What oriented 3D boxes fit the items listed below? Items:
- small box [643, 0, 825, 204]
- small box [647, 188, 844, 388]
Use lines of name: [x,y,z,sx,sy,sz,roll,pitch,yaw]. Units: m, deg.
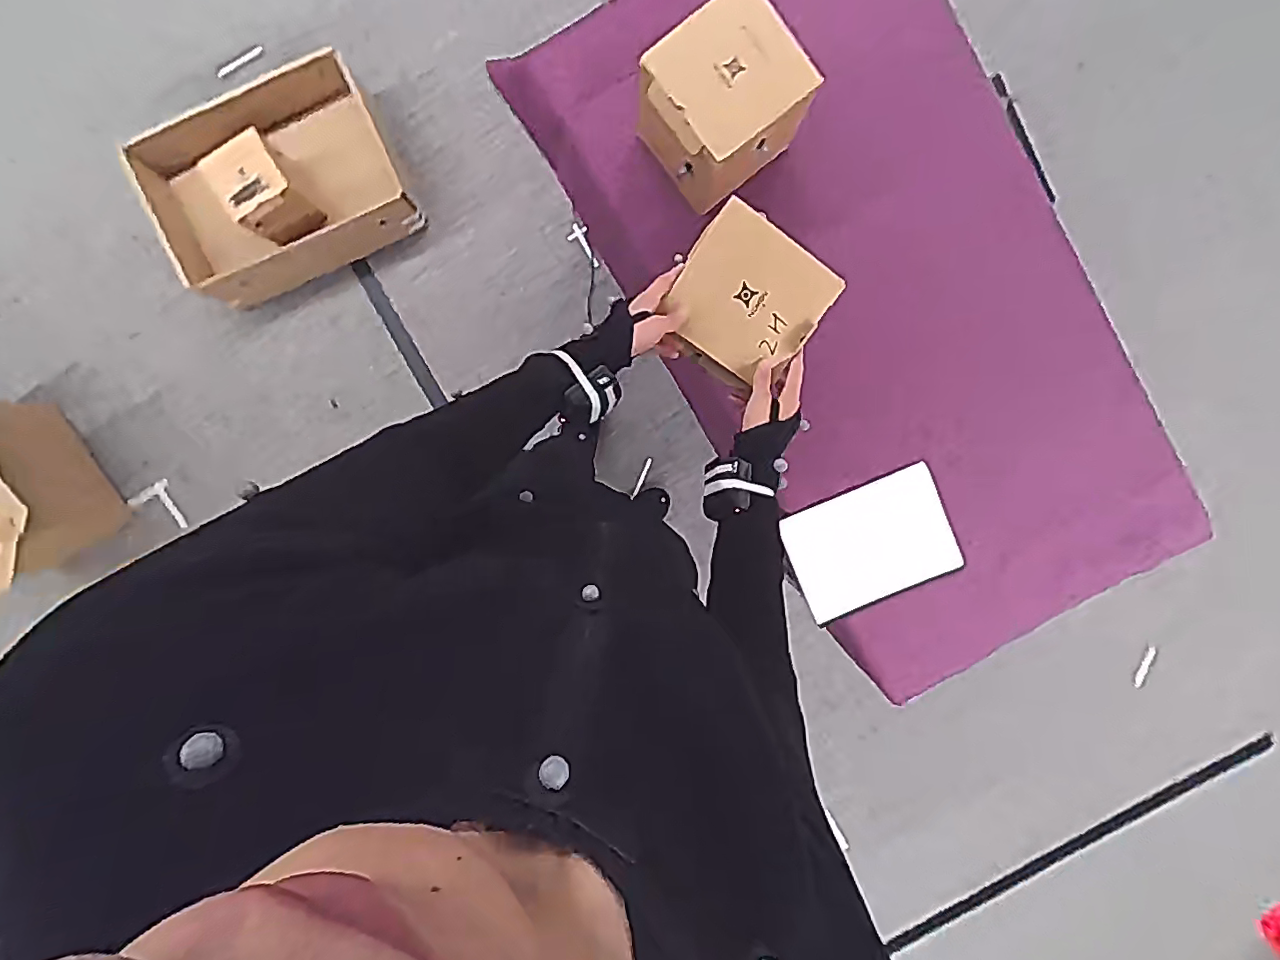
small box: [0.120,-0.533,0.761,0.179,0.176,0.168,-37,95,2]
small box: [0.122,-0.241,0.716,0.179,0.176,0.168,33,101,-11]
